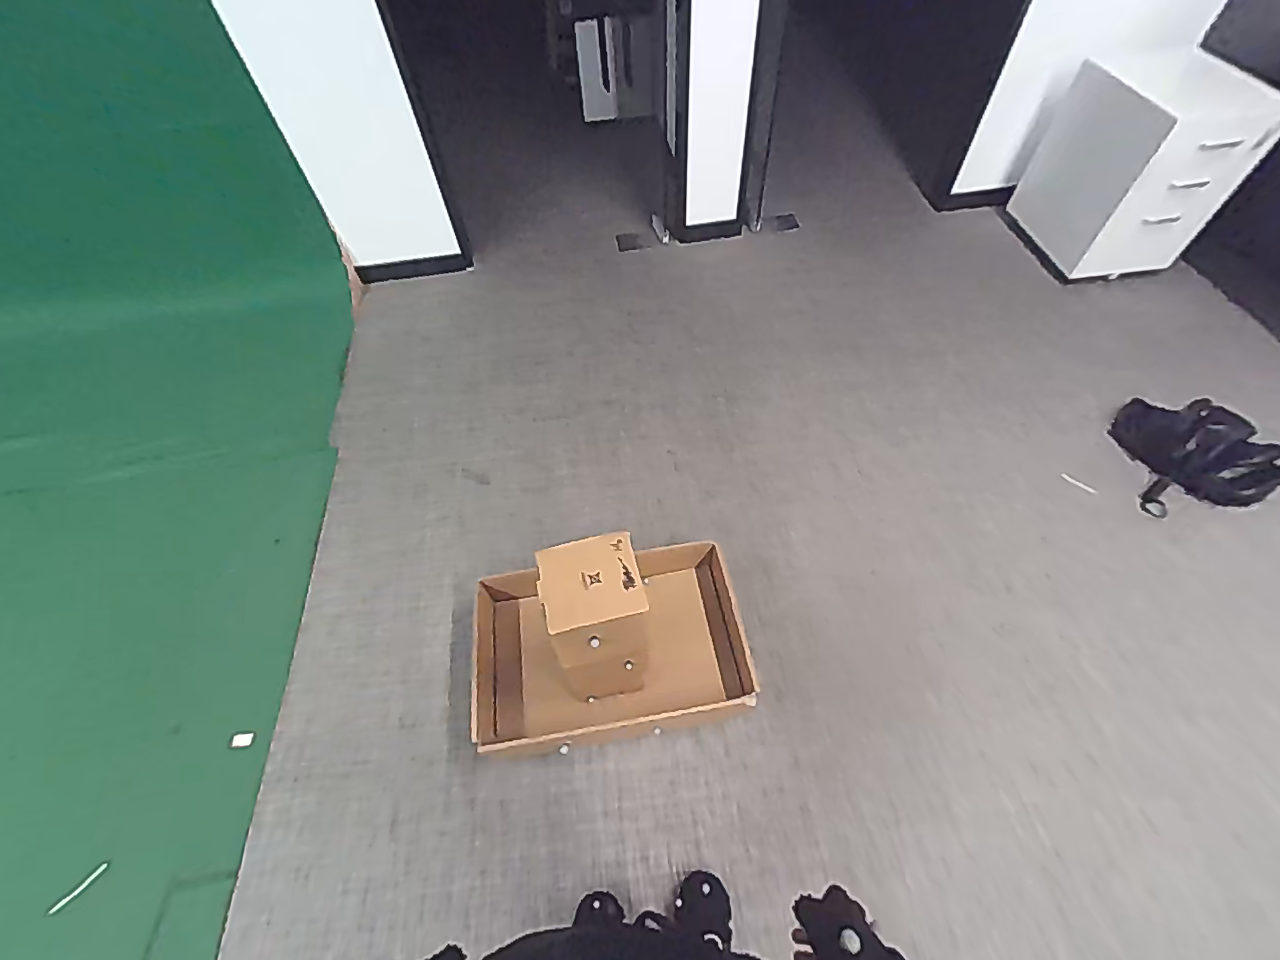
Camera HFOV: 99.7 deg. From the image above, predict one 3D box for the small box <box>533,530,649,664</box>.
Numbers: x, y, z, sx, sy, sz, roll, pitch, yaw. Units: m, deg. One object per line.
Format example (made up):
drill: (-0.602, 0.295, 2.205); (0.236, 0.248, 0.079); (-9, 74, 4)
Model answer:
small box: (-0.088, 0.224, 1.018); (0.179, 0.176, 0.168); (-14, 53, -9)

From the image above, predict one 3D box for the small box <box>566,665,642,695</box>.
small box: (-0.089, 0.400, 1.289); (0.168, 0.176, 0.179); (-9, 55, -4)

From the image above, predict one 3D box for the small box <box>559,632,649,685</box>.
small box: (-0.086, 0.310, 1.135); (0.179, 0.176, 0.168); (-14, 55, -8)
